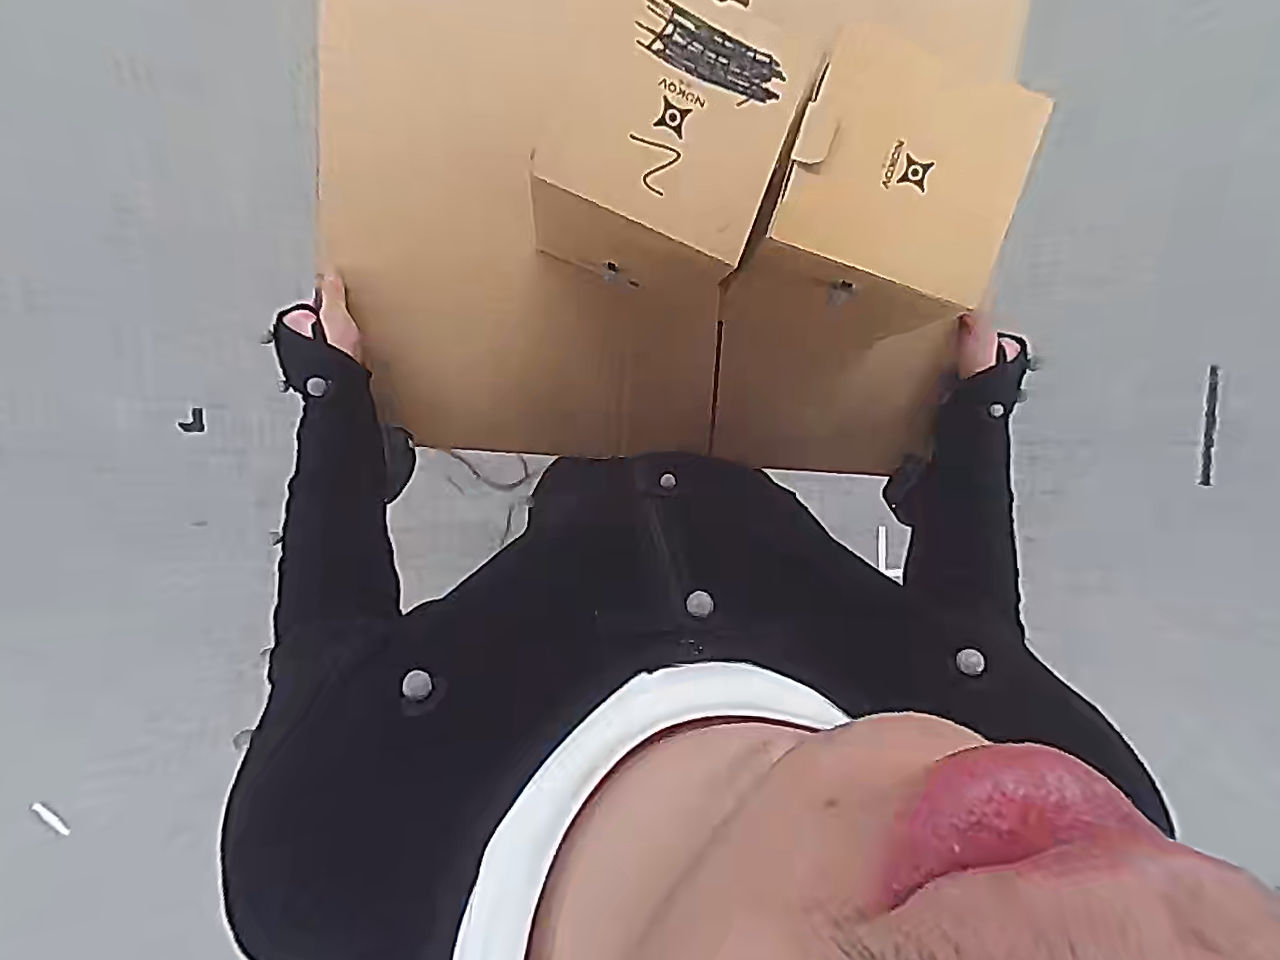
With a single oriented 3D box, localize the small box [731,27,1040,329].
[{"bbox_3d":[0.202,-0.251,0.501,0.179,0.176,0.168,18,95,-2],"label":"small box"}]
